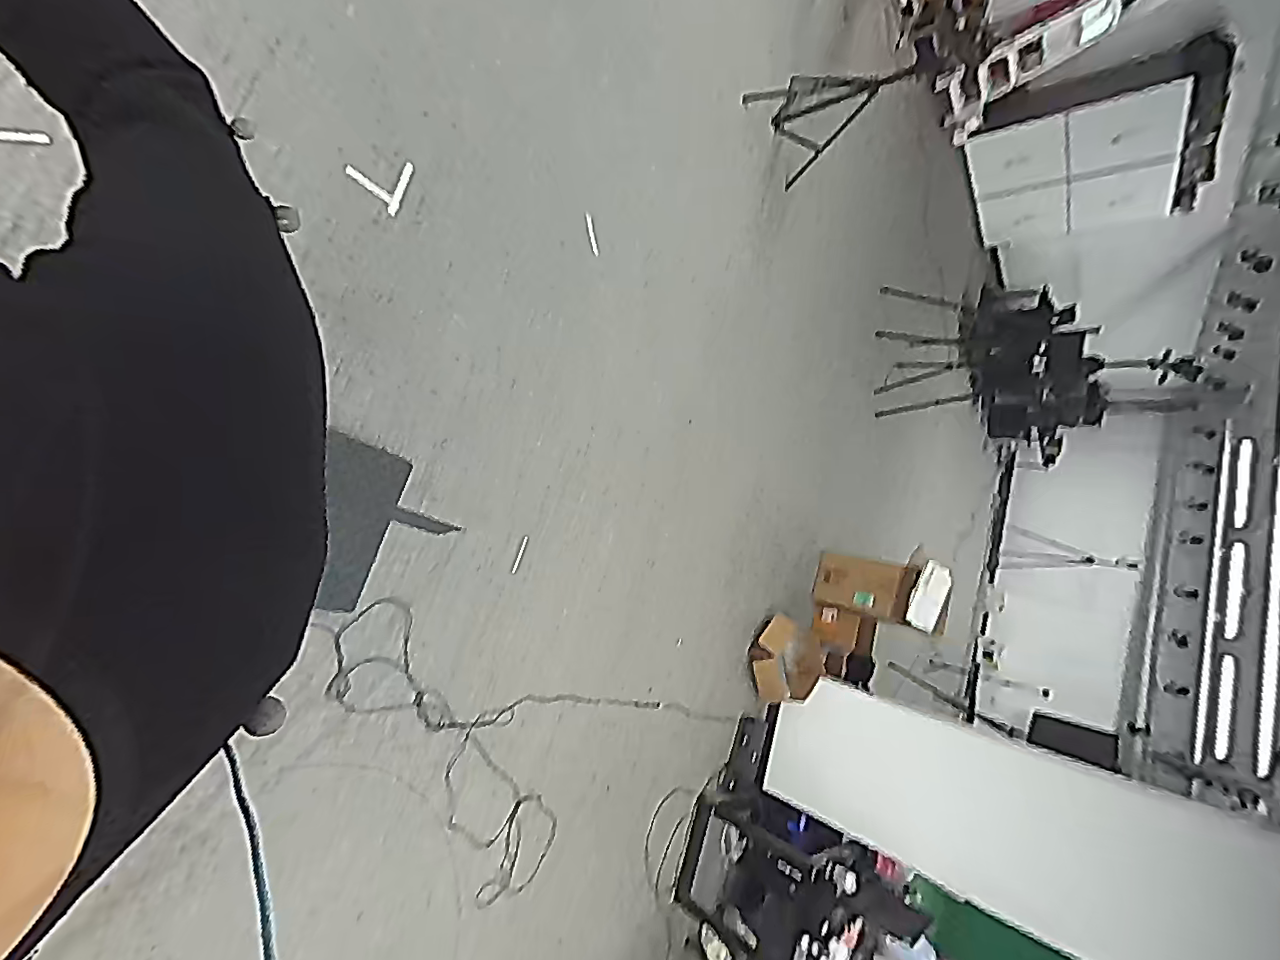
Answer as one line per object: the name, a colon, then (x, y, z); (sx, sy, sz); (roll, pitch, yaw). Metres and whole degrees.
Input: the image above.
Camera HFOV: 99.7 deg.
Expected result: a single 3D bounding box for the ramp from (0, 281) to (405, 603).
ramp: (-1.041, -0.009, 1.265); (0.991, 0.206, 0.509); (27, 74, -47)
